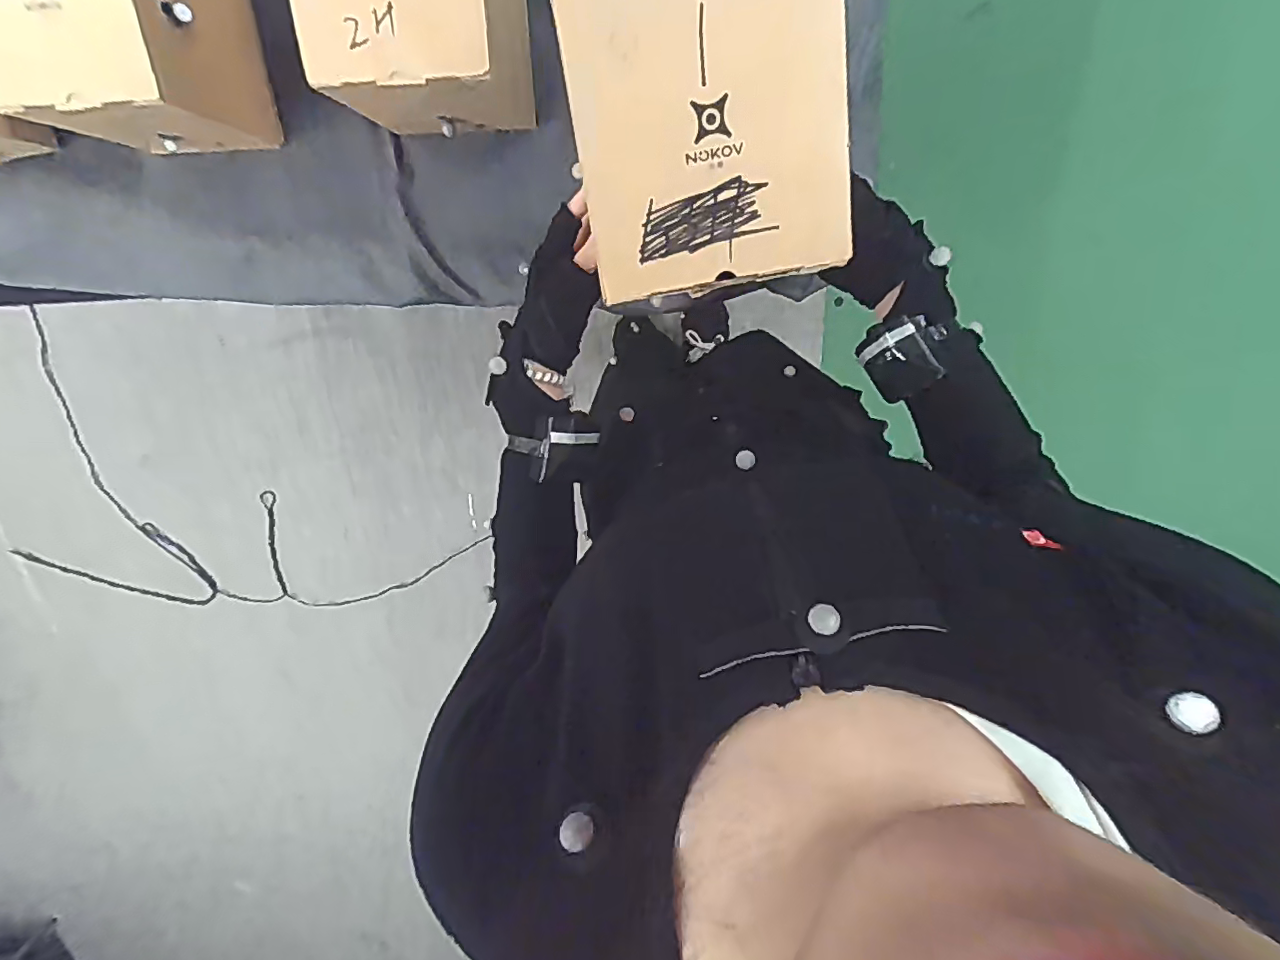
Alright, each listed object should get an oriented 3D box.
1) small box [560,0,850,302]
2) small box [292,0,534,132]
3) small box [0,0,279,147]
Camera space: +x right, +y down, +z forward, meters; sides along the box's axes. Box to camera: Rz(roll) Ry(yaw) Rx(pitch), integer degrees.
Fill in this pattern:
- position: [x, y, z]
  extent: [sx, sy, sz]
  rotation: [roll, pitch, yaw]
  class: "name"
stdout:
- position: [0.050, -0.240, 0.407]
  extent: [0.168, 0.176, 0.179]
  rotation: [-8, 110, 5]
  class: "small box"
- position: [-0.202, -0.452, 0.509]
  extent: [0.168, 0.176, 0.179]
  rotation: [0, 111, 3]
  class: "small box"
- position: [-0.499, -0.445, 0.526]
  extent: [0.168, 0.176, 0.179]
  rotation: [-1, 111, 2]
  class: "small box"
